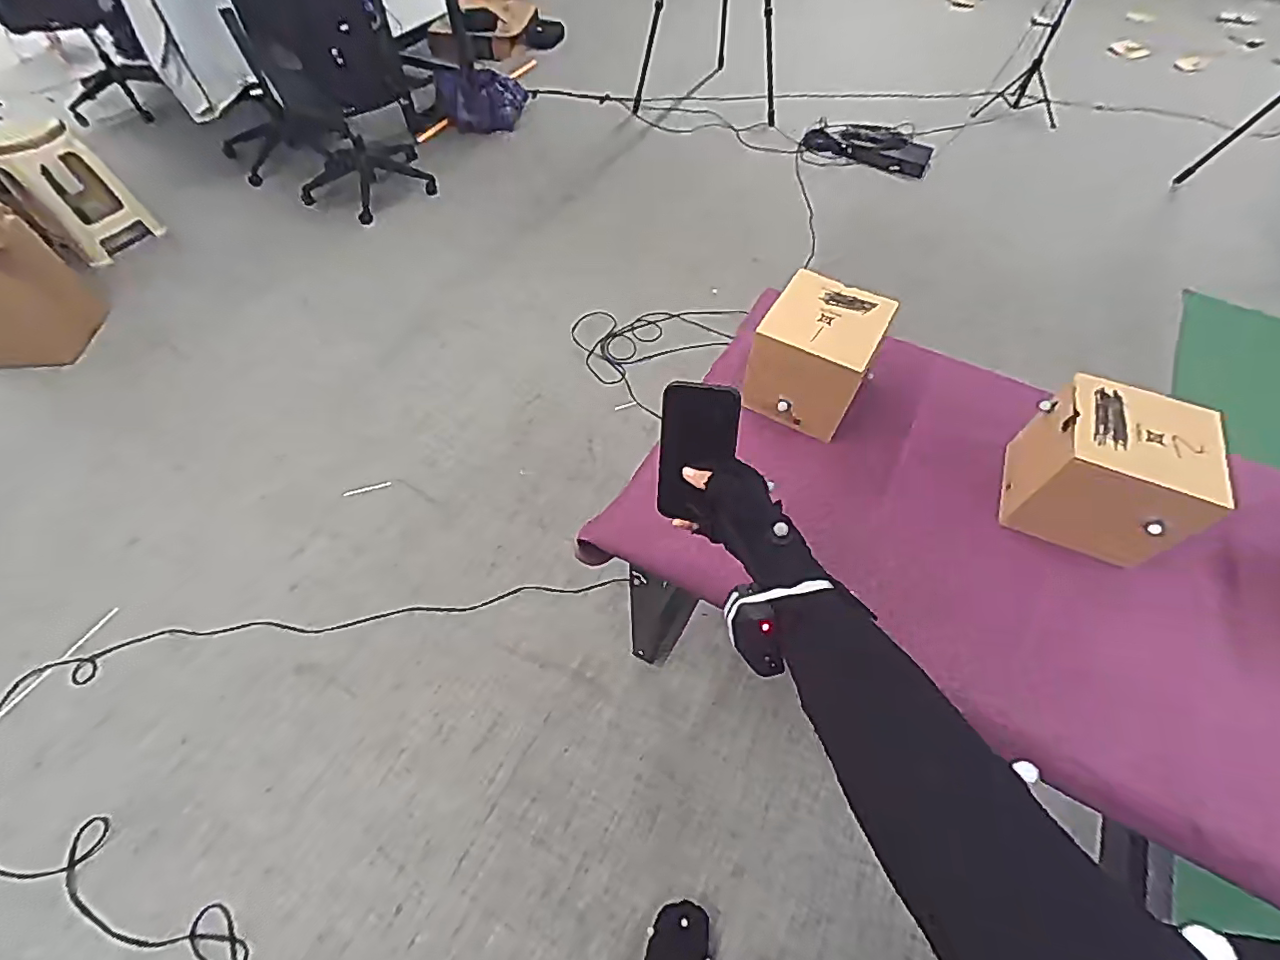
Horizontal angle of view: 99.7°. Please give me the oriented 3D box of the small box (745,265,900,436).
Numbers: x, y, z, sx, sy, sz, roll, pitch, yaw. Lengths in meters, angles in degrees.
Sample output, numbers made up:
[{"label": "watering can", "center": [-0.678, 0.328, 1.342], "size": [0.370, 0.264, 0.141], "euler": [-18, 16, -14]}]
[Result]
[{"label": "small box", "center": [0.284, -0.205, 0.873], "size": [0.168, 0.176, 0.179], "euler": [27, 62, 17]}]
